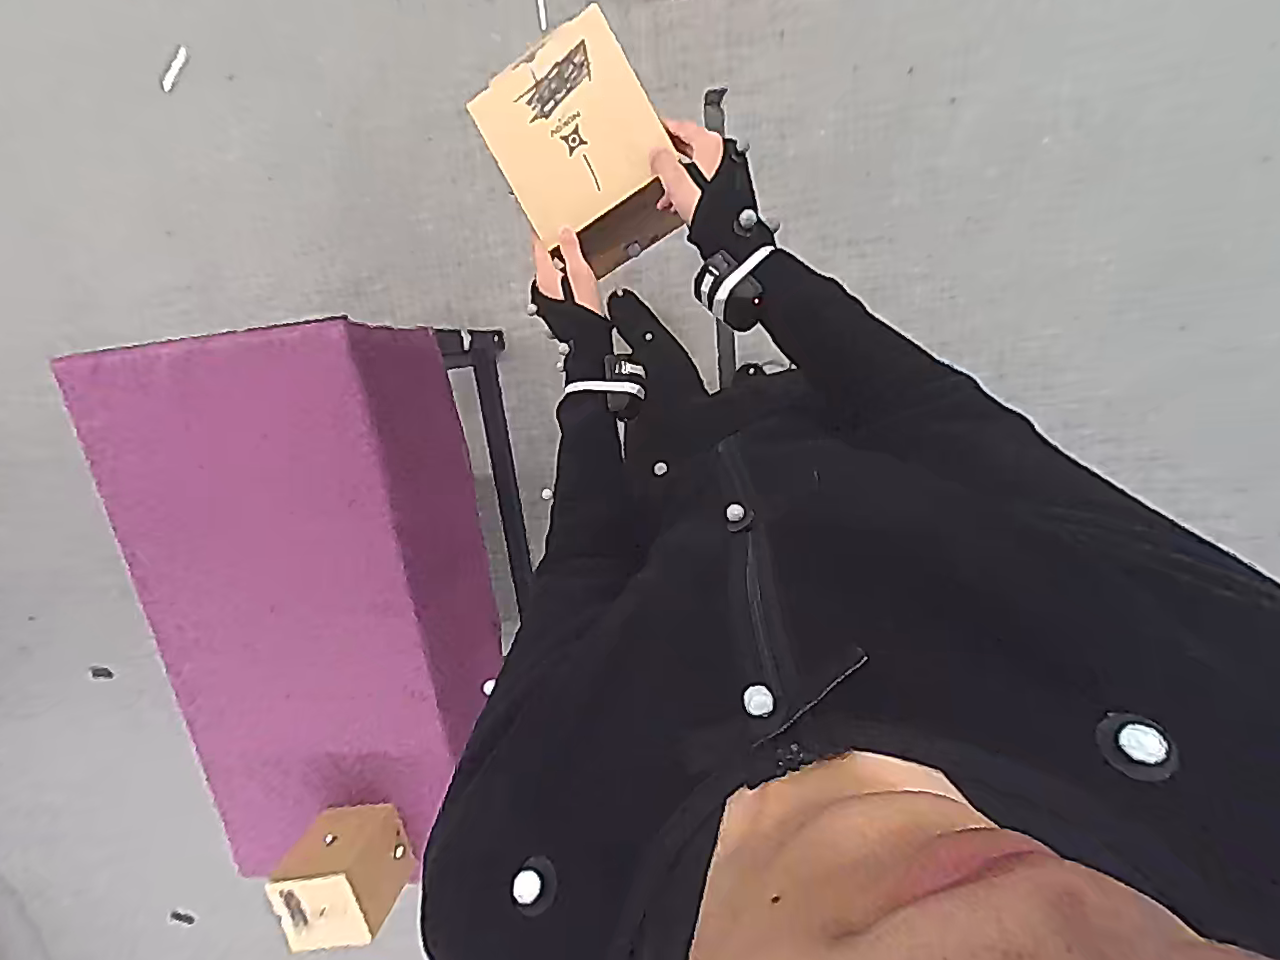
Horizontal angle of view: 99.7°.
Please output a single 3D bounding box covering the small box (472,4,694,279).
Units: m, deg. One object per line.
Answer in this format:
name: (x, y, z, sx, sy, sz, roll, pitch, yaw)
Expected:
small box: (-0.052, -0.363, 0.622, 0.168, 0.176, 0.179, -28, 92, 14)
